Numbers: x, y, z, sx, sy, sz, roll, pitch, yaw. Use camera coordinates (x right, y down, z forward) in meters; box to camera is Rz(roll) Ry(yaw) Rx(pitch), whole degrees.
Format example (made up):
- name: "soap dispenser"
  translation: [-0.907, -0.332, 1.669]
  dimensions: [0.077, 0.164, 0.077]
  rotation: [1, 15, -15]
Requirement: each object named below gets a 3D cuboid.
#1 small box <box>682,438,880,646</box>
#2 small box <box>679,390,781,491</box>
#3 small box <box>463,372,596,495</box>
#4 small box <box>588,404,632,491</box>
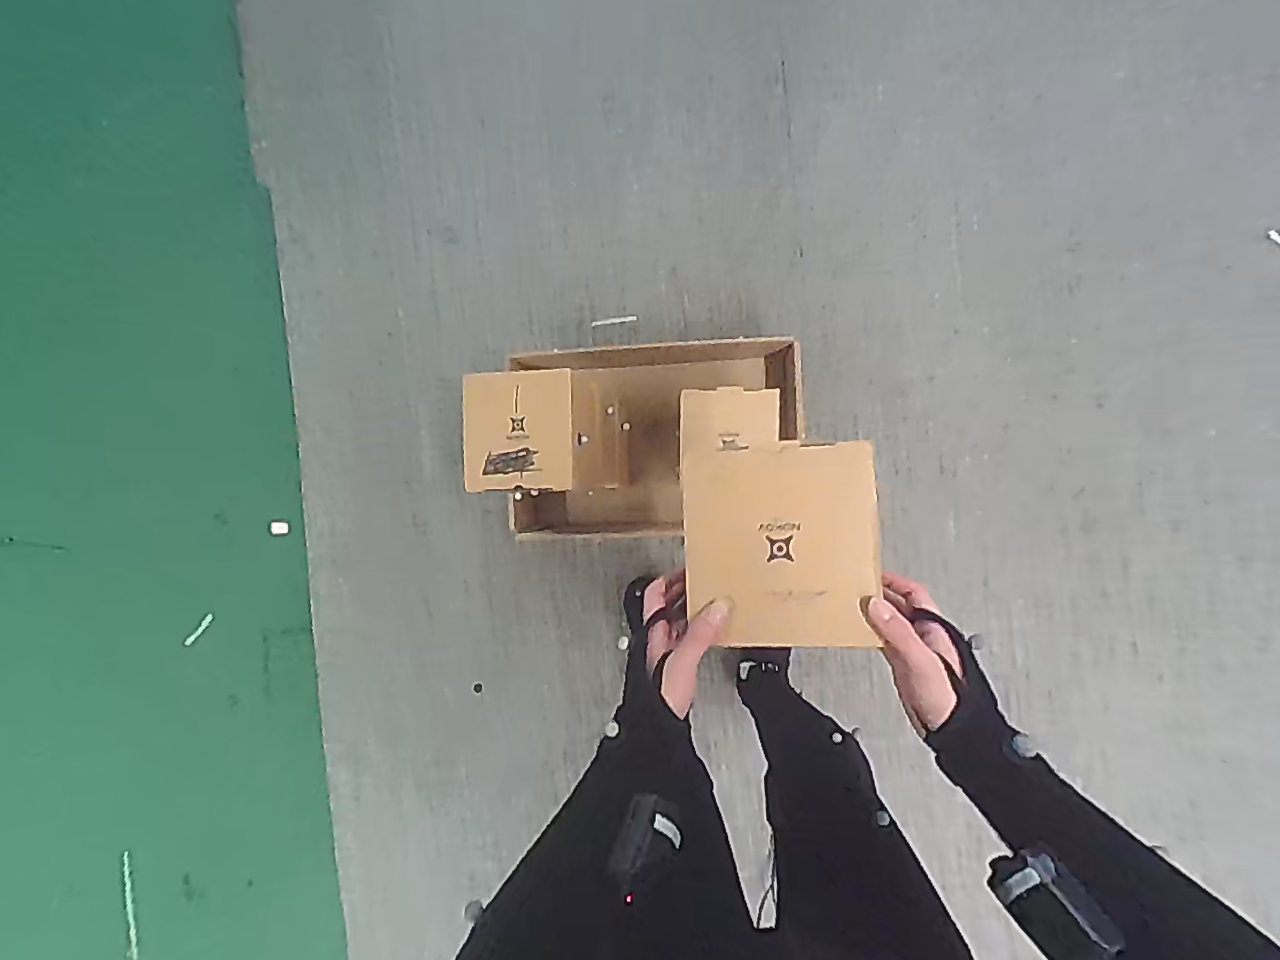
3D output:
- name: "small box"
  translation: [0.129, 0.060, 0.545]
  dimensions: [0.168, 0.176, 0.179]
  rotation: [-2, 85, 9]
- name: "small box"
  translation: [0.159, -0.062, 0.980]
  dimensions: [0.168, 0.176, 0.179]
  rotation: [1, 90, 8]
- name: "small box"
  translation: [-0.167, -0.066, 0.860]
  dimensions: [0.168, 0.176, 0.179]
  rotation: [-1, 88, 7]
- name: "small box"
  translation: [-0.112, -0.065, 1.182]
  dimensions: [0.168, 0.176, 0.179]
  rotation: [-1, 89, 9]
